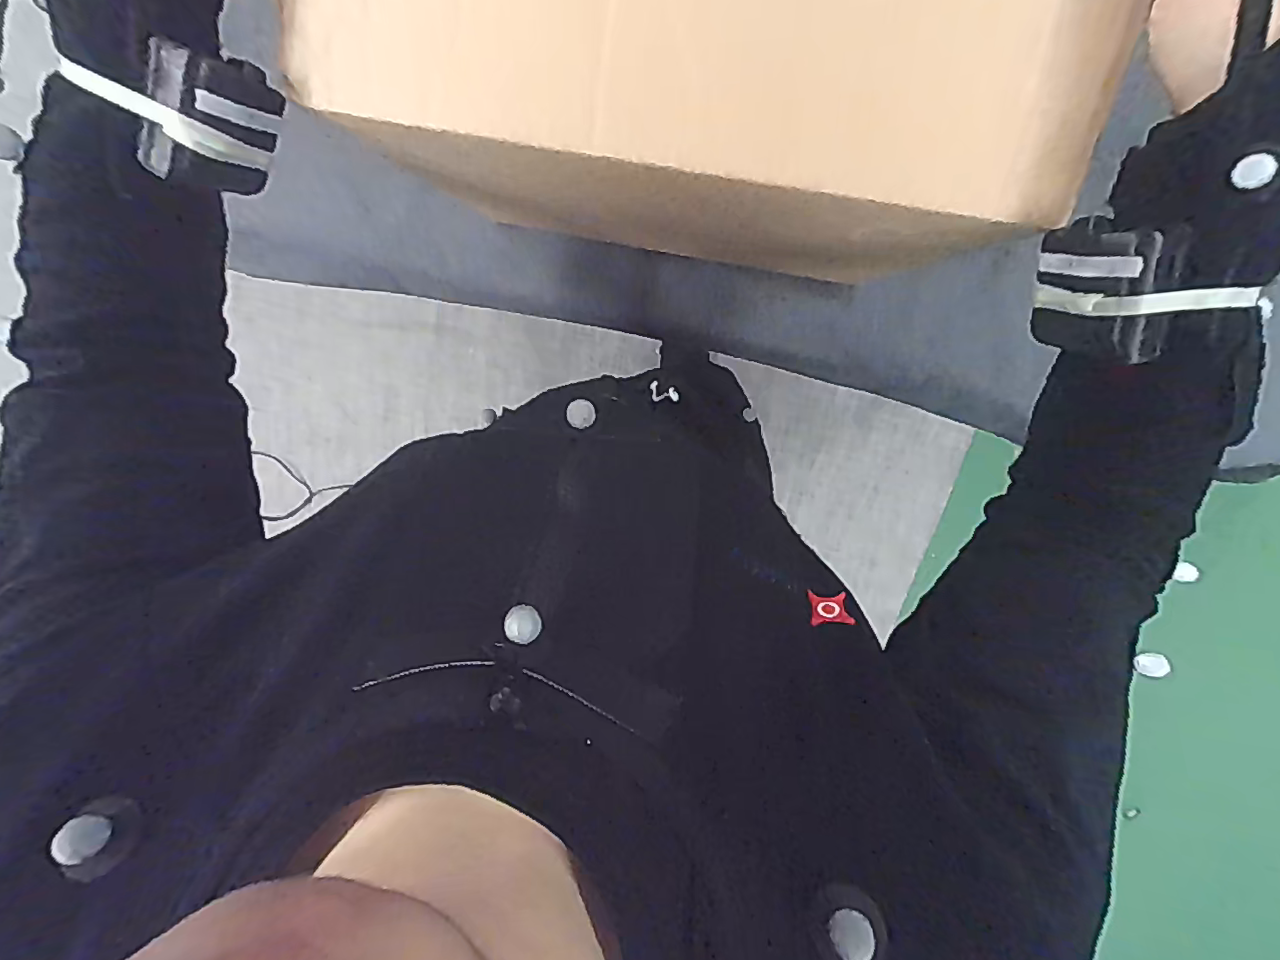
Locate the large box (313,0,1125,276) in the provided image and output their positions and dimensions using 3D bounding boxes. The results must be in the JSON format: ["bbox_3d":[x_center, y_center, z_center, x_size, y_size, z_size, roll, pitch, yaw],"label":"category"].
[{"bbox_3d":[0.051,-0.351,0.390,0.408,0.320,0.320,10,106,1],"label":"large box"}]
